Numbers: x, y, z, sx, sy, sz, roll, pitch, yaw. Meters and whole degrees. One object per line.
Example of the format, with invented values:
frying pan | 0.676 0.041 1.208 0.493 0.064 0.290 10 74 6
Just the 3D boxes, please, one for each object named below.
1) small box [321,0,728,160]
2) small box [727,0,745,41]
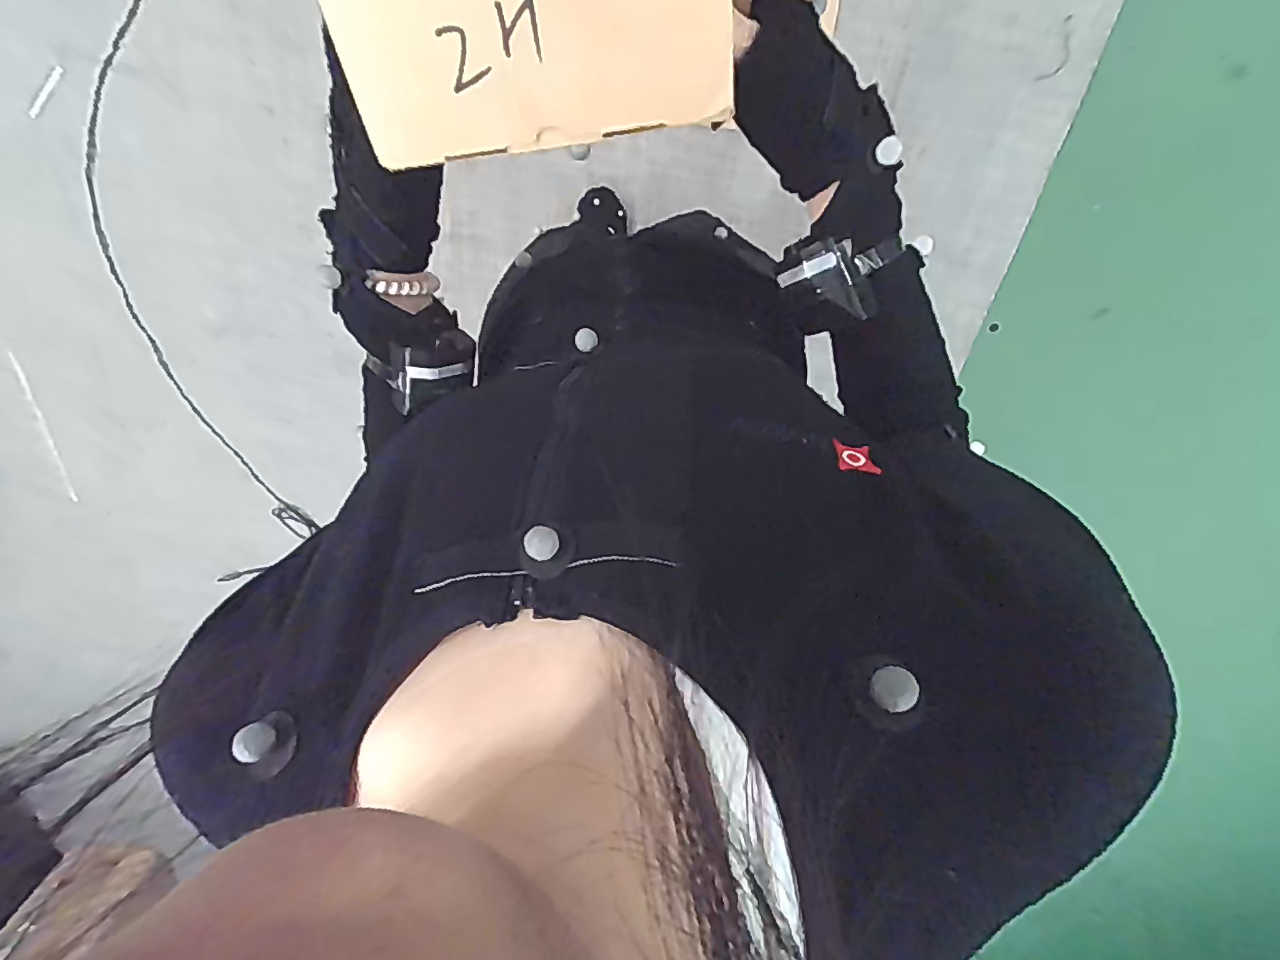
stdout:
small box | -0.052 -0.273 0.259 0.168 0.176 0.179 -6 128 4
small box | 0.107 -0.930 0.987 0.168 0.176 0.179 4 120 -1
